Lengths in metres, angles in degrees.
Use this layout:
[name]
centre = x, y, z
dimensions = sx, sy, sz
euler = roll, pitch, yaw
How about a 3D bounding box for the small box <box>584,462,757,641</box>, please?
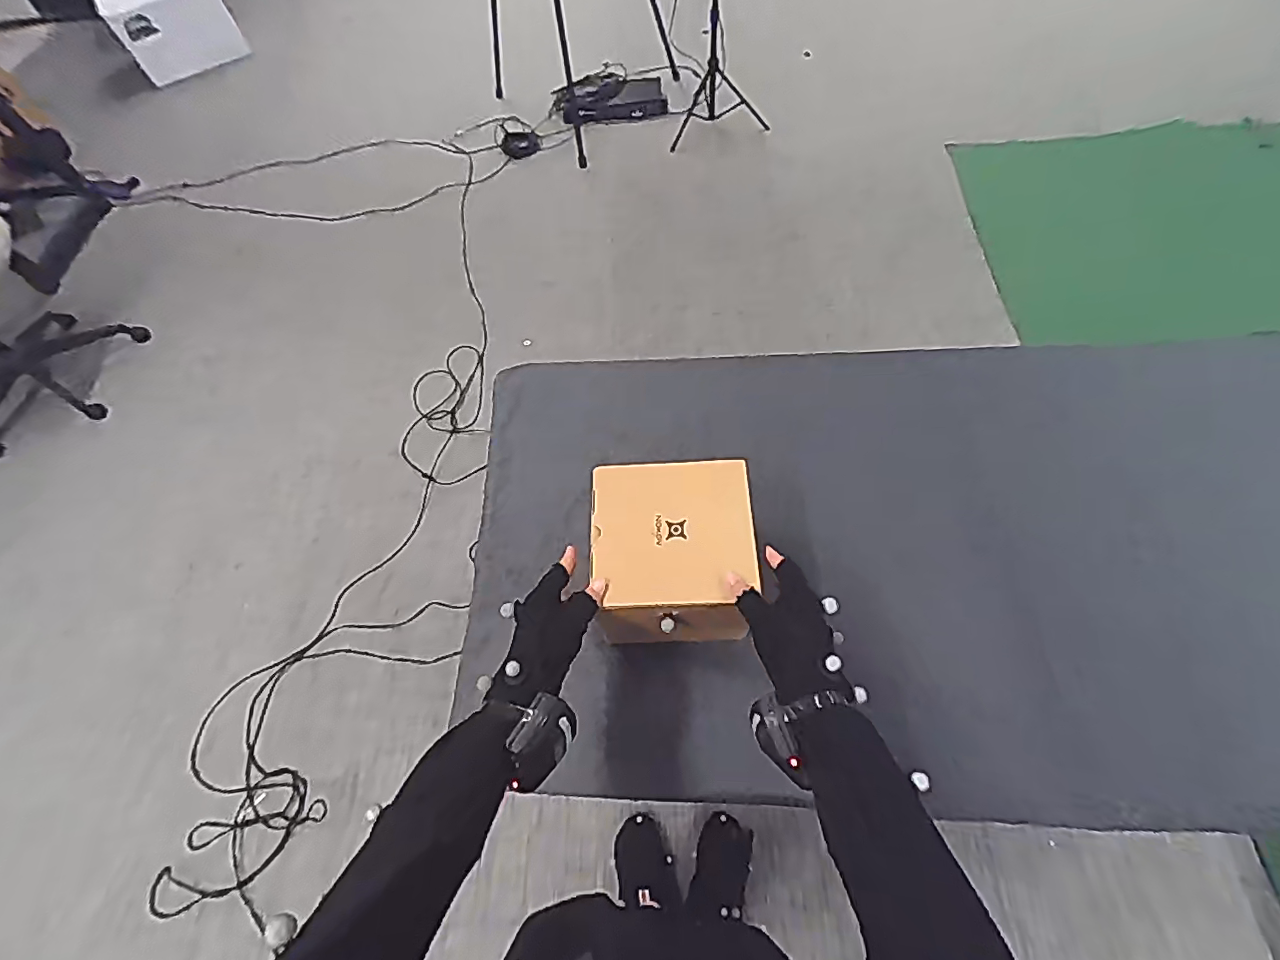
[small box]
centre = 0.035, 0.091, 0.645
dimensions = 0.179, 0.176, 0.168
euler = -3, 61, 4
